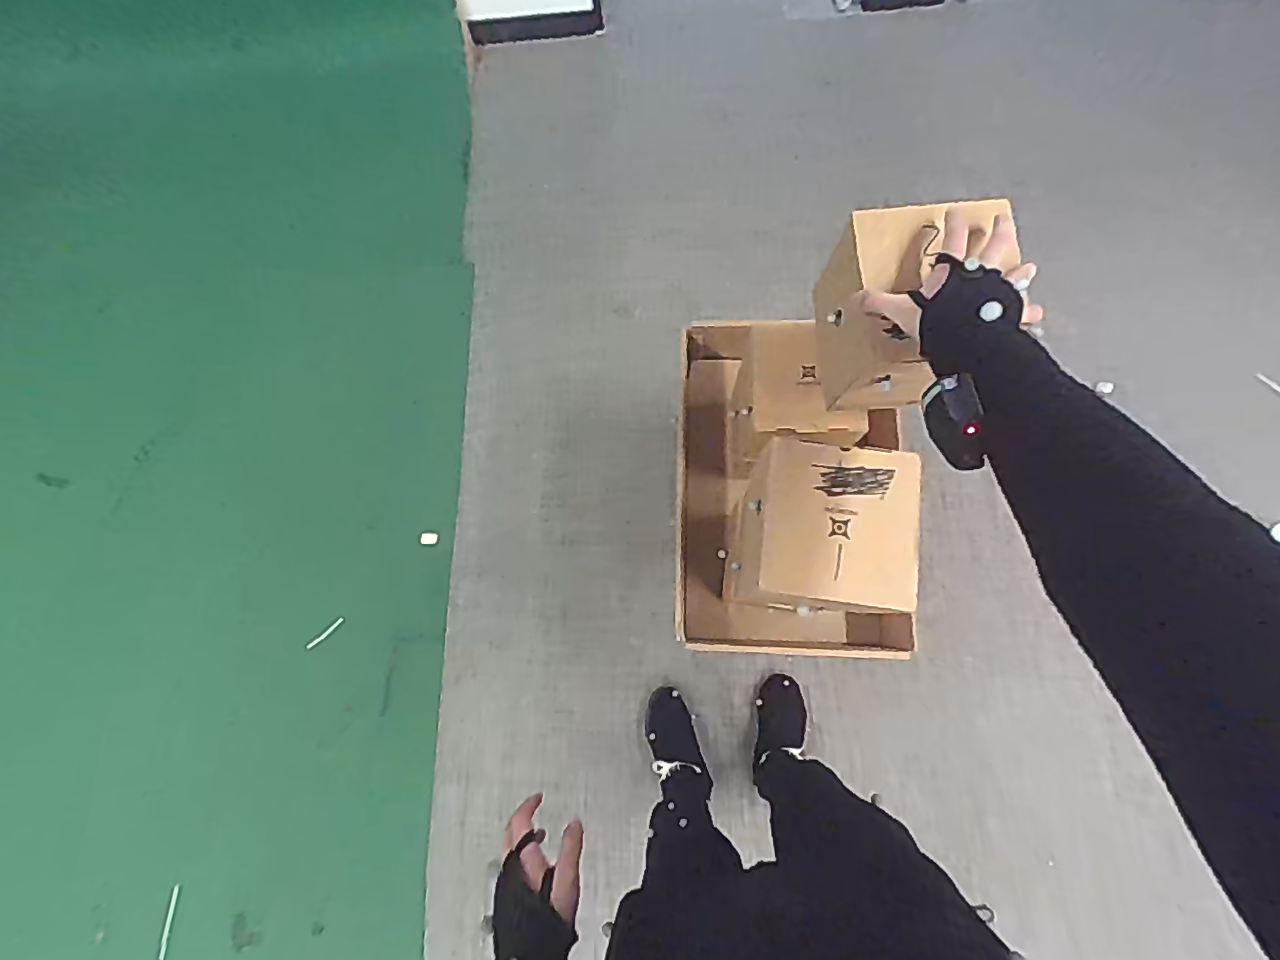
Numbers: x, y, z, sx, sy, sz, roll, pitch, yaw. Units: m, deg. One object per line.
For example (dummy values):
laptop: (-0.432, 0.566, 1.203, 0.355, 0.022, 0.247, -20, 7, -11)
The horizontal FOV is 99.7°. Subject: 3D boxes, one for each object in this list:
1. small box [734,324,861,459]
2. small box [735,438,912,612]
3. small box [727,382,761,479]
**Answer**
small box: (0.248, -0.138, 0.892, 0.168, 0.176, 0.179, 1, 78, 3)
small box: (0.216, 0.064, 0.671, 0.168, 0.176, 0.179, 7, 77, 5)
small box: (0.258, -0.103, 1.050, 0.168, 0.176, 0.179, 1, 77, 4)
